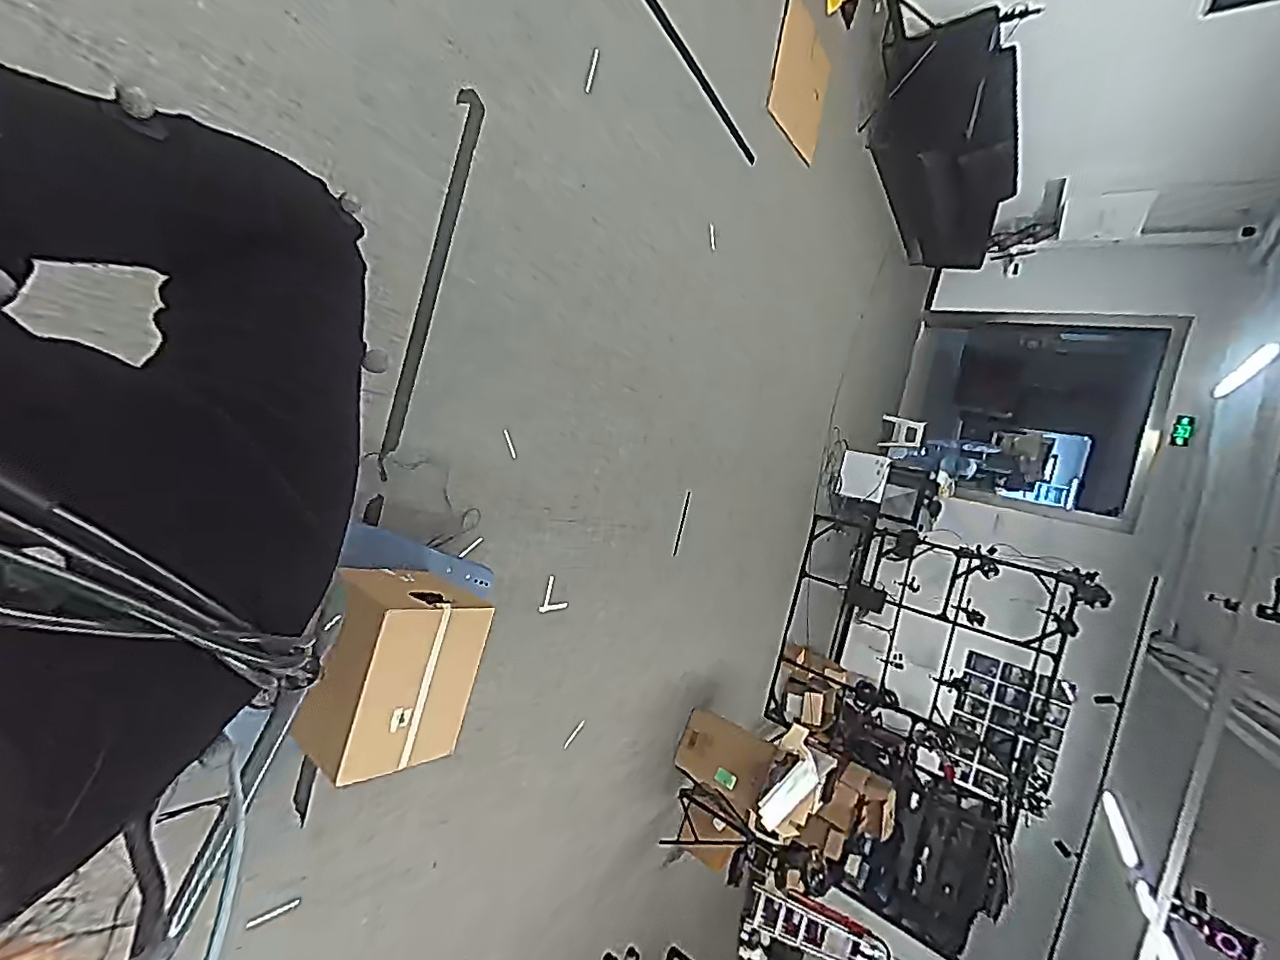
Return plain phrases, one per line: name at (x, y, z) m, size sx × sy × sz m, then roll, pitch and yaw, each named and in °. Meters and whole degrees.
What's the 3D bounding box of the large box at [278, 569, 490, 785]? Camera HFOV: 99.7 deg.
large box at (-0.645, 0.463, 1.376) m, size 0.320 × 0.320 × 0.408 m, roll 18°, pitch 88°, yaw -54°
